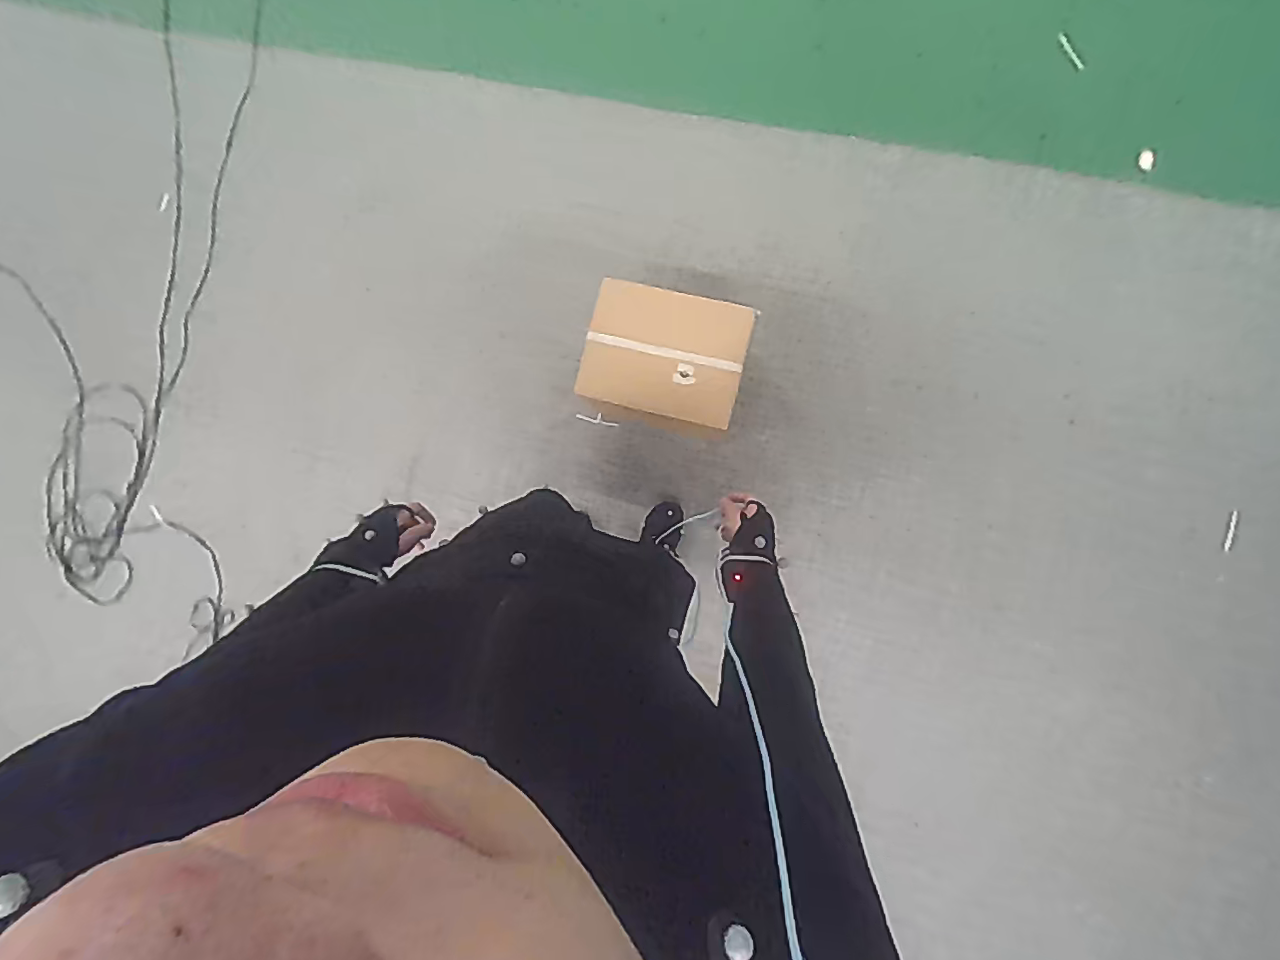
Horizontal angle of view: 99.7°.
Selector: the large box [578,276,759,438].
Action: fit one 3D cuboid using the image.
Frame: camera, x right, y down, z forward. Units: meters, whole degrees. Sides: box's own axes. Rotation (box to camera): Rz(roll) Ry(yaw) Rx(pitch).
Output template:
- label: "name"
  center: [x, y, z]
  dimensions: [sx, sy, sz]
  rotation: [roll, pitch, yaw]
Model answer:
- label: "large box"
  center: [0.083, -0.324, 1.496]
  dimensions: [0.408, 0.320, 0.320]
  rotation: [14, 90, 7]
